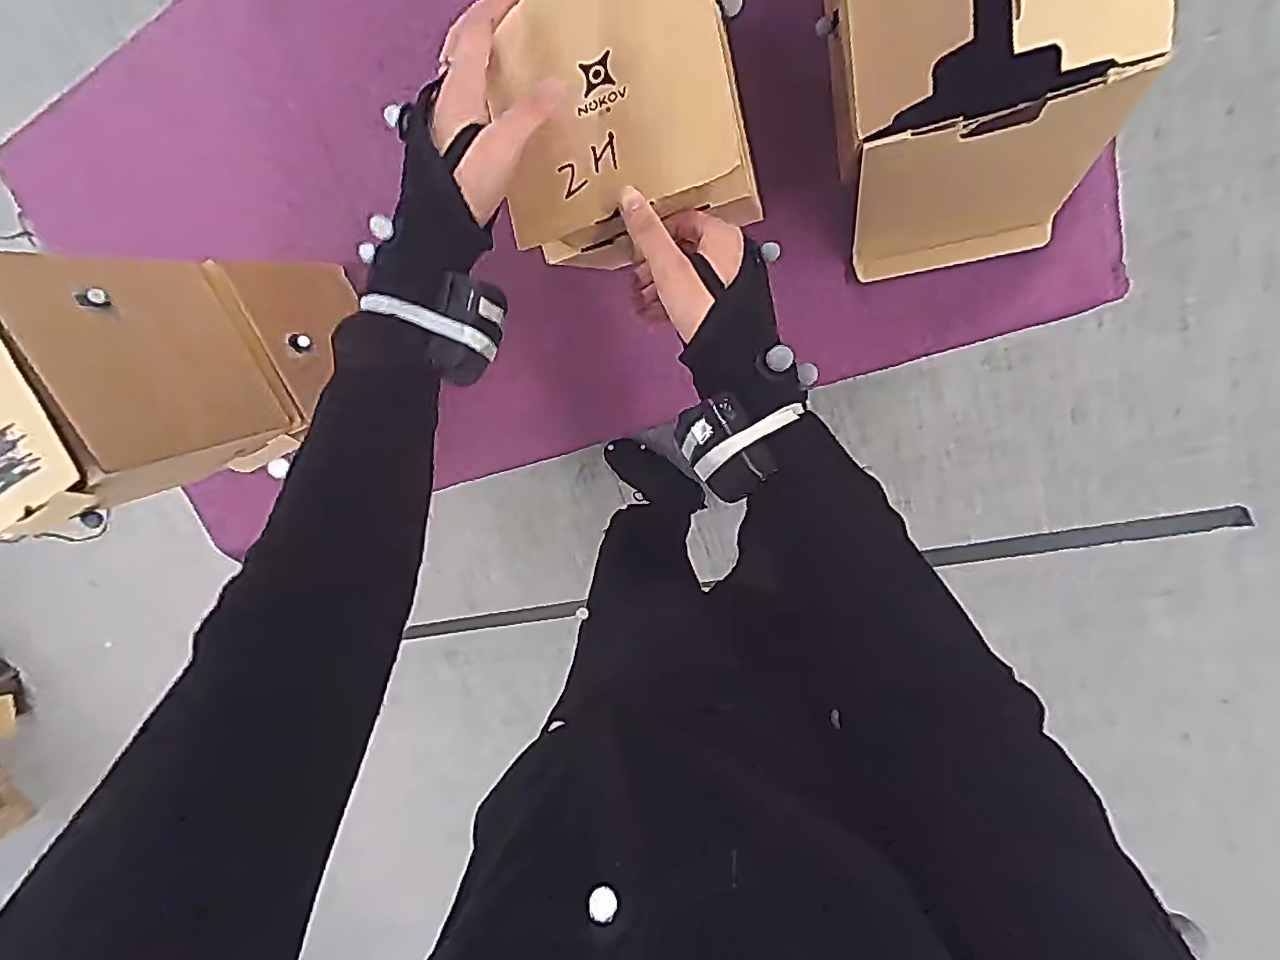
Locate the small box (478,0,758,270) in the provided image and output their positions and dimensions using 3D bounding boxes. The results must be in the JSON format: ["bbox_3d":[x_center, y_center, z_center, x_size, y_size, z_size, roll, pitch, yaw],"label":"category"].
[{"bbox_3d":[0.000,-0.289,0.456,0.168,0.176,0.179,-10,106,19],"label":"small box"}]

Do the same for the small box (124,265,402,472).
[{"bbox_3d":[-0.419,-0.134,0.632,0.168,0.176,0.179,-18,103,20],"label":"small box"}]
